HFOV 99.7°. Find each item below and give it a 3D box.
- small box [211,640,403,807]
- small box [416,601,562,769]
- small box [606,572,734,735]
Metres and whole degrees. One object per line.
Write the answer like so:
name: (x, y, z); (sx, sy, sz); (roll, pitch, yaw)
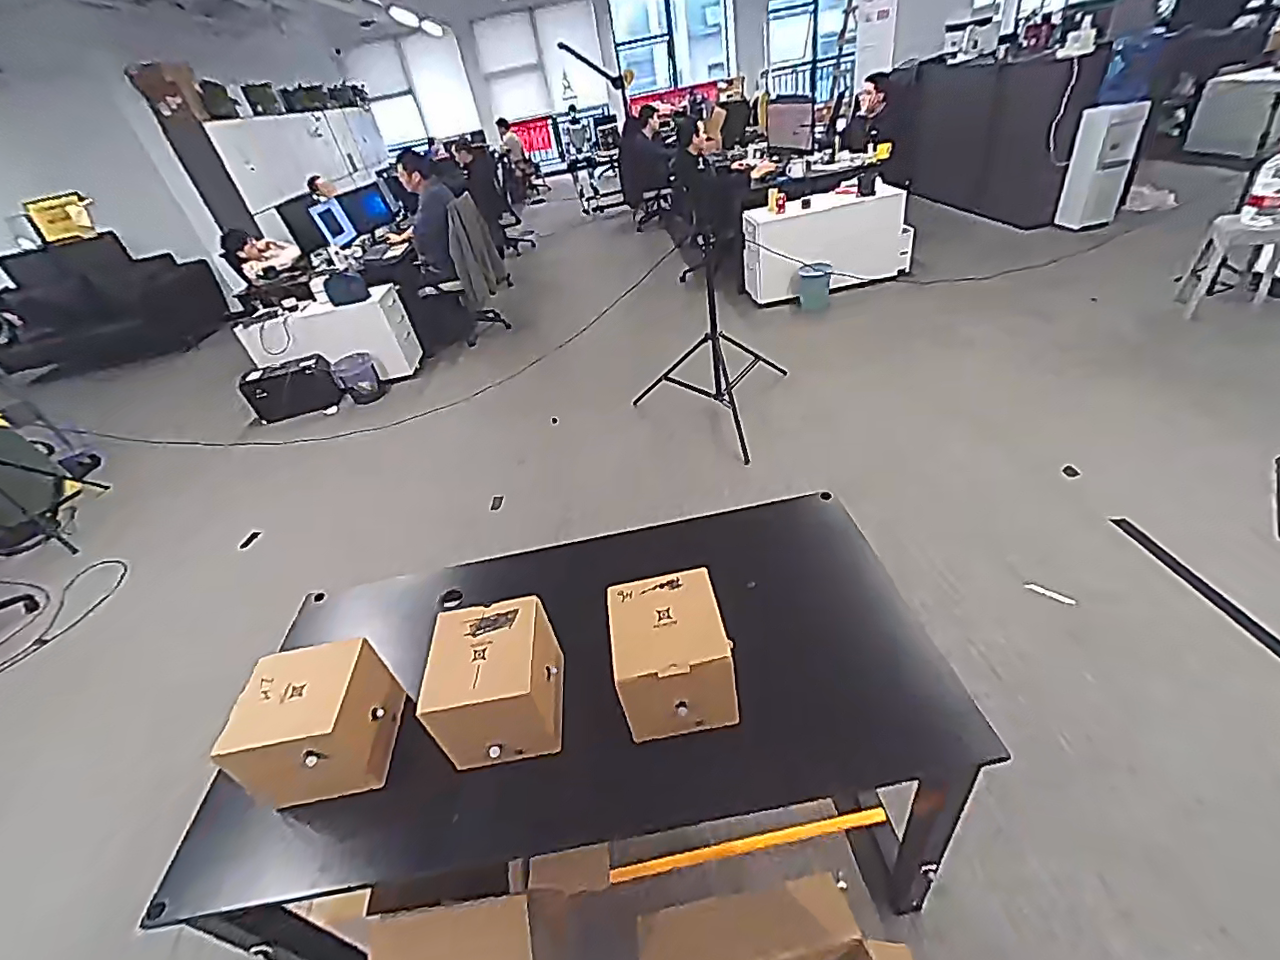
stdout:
small box: (-0.504, 0.384, 0.855); (0.179, 0.176, 0.168); (-11, 36, 0)
small box: (-0.225, 0.325, 0.861); (0.168, 0.176, 0.179); (-11, 37, 1)
small box: (0.046, 0.277, 0.850); (0.168, 0.176, 0.179); (-11, 37, 1)
